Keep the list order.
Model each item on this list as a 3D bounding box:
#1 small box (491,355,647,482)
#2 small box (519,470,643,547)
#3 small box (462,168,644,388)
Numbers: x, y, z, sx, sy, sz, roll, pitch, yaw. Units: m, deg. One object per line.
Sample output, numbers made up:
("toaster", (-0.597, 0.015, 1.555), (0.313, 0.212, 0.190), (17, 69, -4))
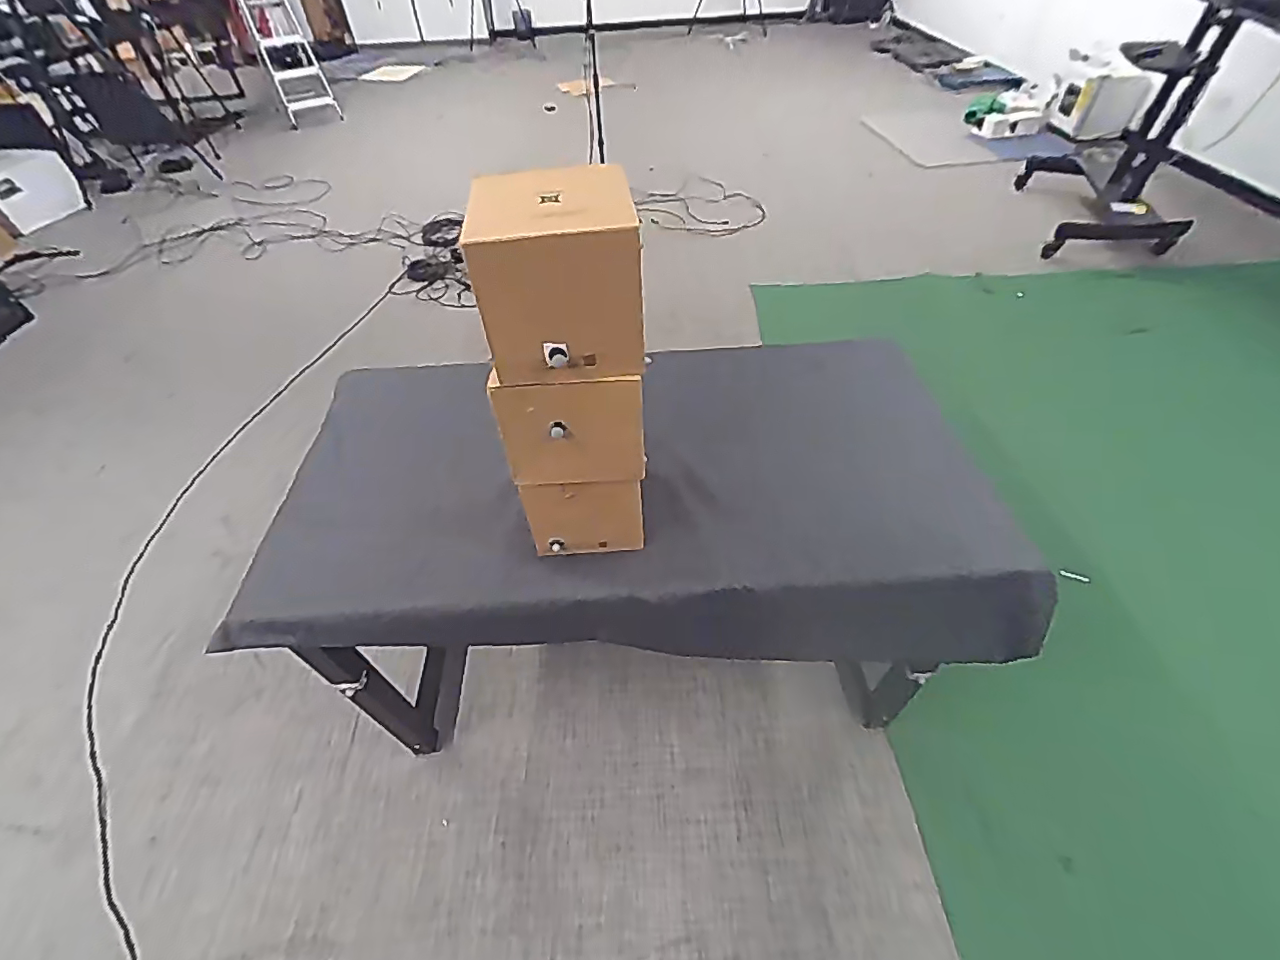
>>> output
("small box", (-0.087, -0.112, 0.729), (0.179, 0.176, 0.168), (-5, 46, -2))
("small box", (-0.083, -0.007, 0.851), (0.168, 0.176, 0.179), (-4, 46, 0))
("small box", (-0.089, -0.227, 0.611), (0.168, 0.176, 0.179), (-8, 48, -3))
